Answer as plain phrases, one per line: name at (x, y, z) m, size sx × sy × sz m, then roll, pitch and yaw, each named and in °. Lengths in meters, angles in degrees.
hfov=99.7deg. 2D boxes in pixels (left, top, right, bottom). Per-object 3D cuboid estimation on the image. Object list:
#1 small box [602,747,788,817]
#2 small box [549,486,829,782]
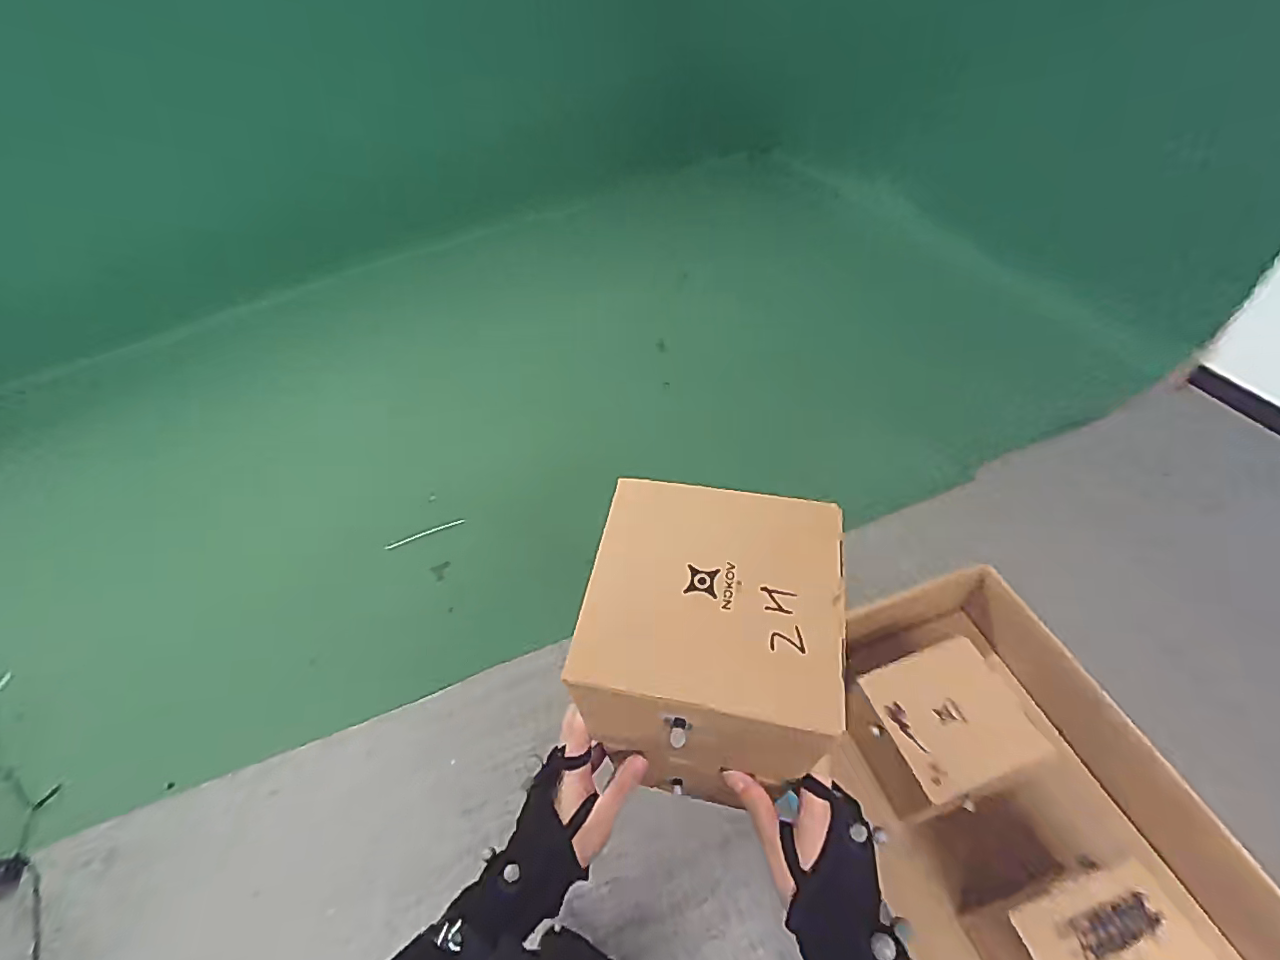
small box at (0.063, 0.229, 0.569) m, size 0.168 × 0.176 × 0.179 m, roll 8°, pitch 53°, yaw 10°
small box at (0.047, 0.128, 0.439) m, size 0.179 × 0.176 × 0.168 m, roll 7°, pitch 53°, yaw 10°
